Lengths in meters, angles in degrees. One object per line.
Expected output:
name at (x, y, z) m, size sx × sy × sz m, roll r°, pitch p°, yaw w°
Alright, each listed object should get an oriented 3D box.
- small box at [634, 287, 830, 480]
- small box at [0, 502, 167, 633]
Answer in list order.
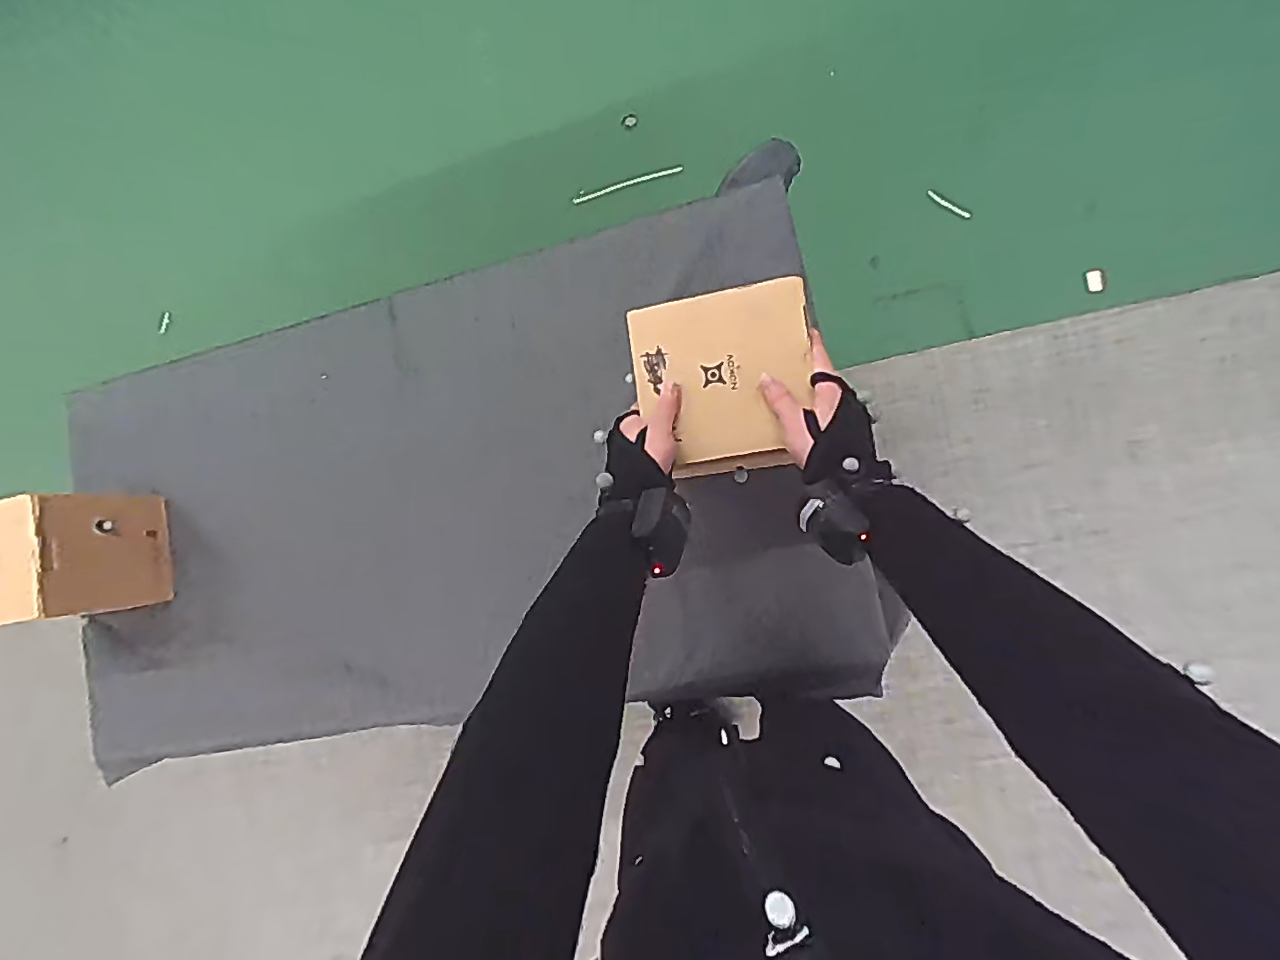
small box at (0.102, -0.094, 0.612) m, size 0.179 × 0.176 × 0.168 m, roll -8°, pitch 86°, yaw 11°
small box at (-0.834, 0.124, 0.785) m, size 0.179 × 0.176 × 0.168 m, roll -9°, pitch 83°, yaw 11°
